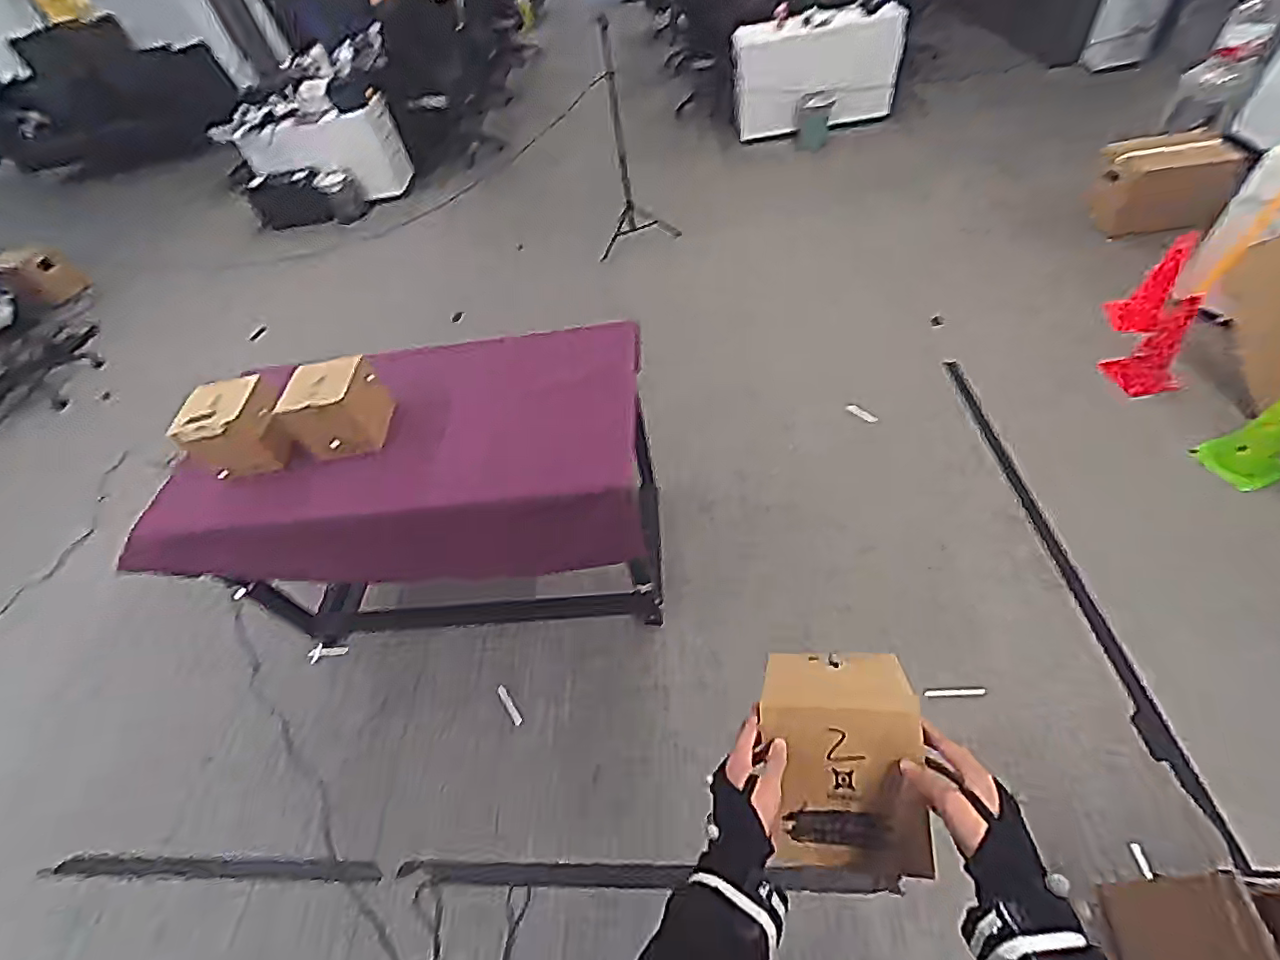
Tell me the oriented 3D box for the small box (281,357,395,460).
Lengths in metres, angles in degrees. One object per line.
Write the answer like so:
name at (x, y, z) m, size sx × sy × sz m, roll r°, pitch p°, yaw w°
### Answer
small box at (-0.735, -0.175, 1.341) m, size 0.168 × 0.176 × 0.179 m, roll -9°, pitch 50°, yaw 4°

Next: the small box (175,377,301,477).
small box at (-0.987, -0.125, 1.350) m, size 0.168 × 0.176 × 0.179 m, roll -12°, pitch 49°, yaw 1°
